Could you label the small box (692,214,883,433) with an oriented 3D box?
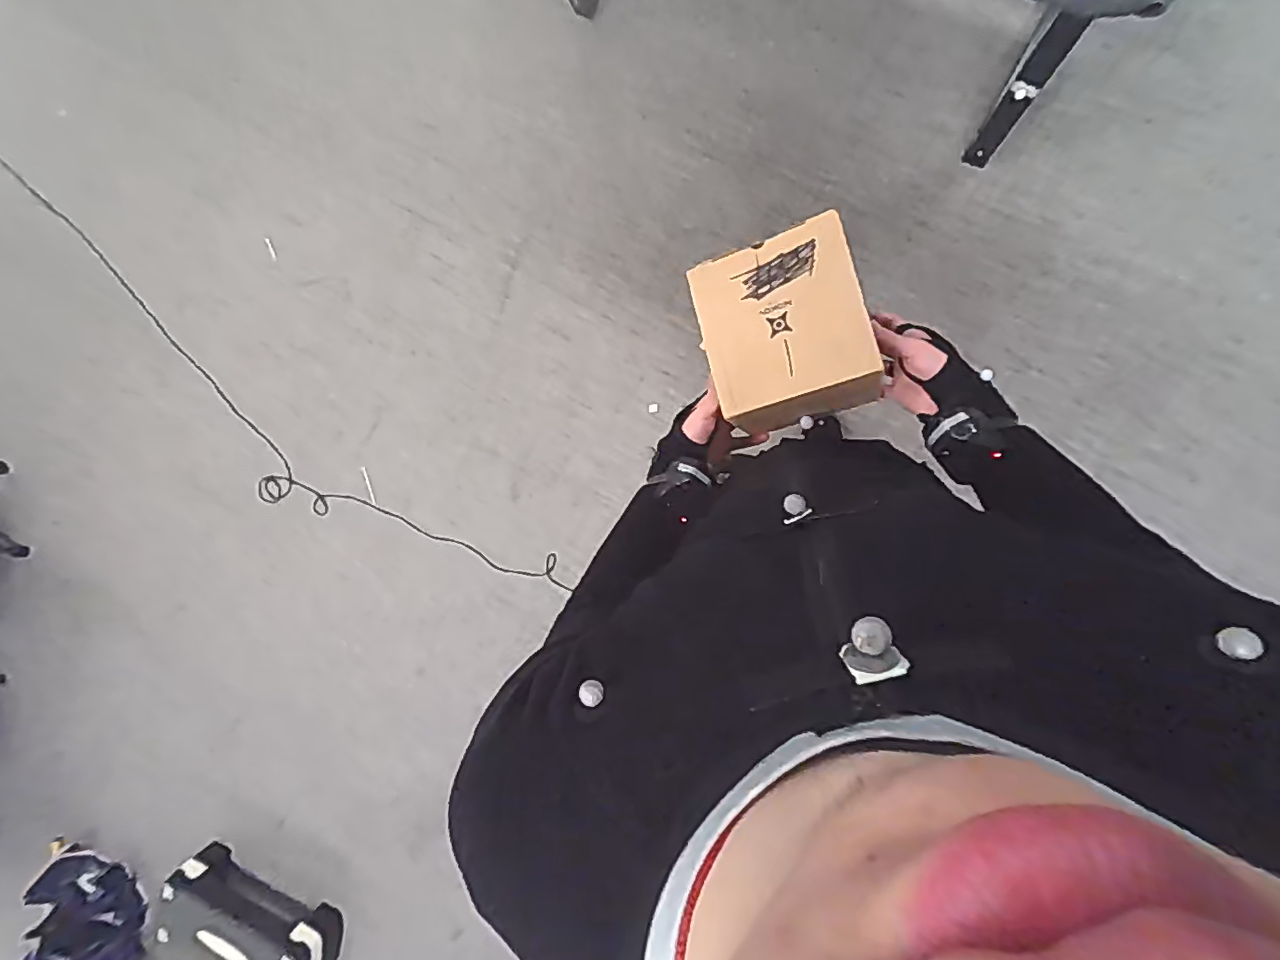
[{"bbox_3d":[0.177,-0.167,0.641,0.168,0.176,0.179,-15,82,21],"label":"small box"}]
